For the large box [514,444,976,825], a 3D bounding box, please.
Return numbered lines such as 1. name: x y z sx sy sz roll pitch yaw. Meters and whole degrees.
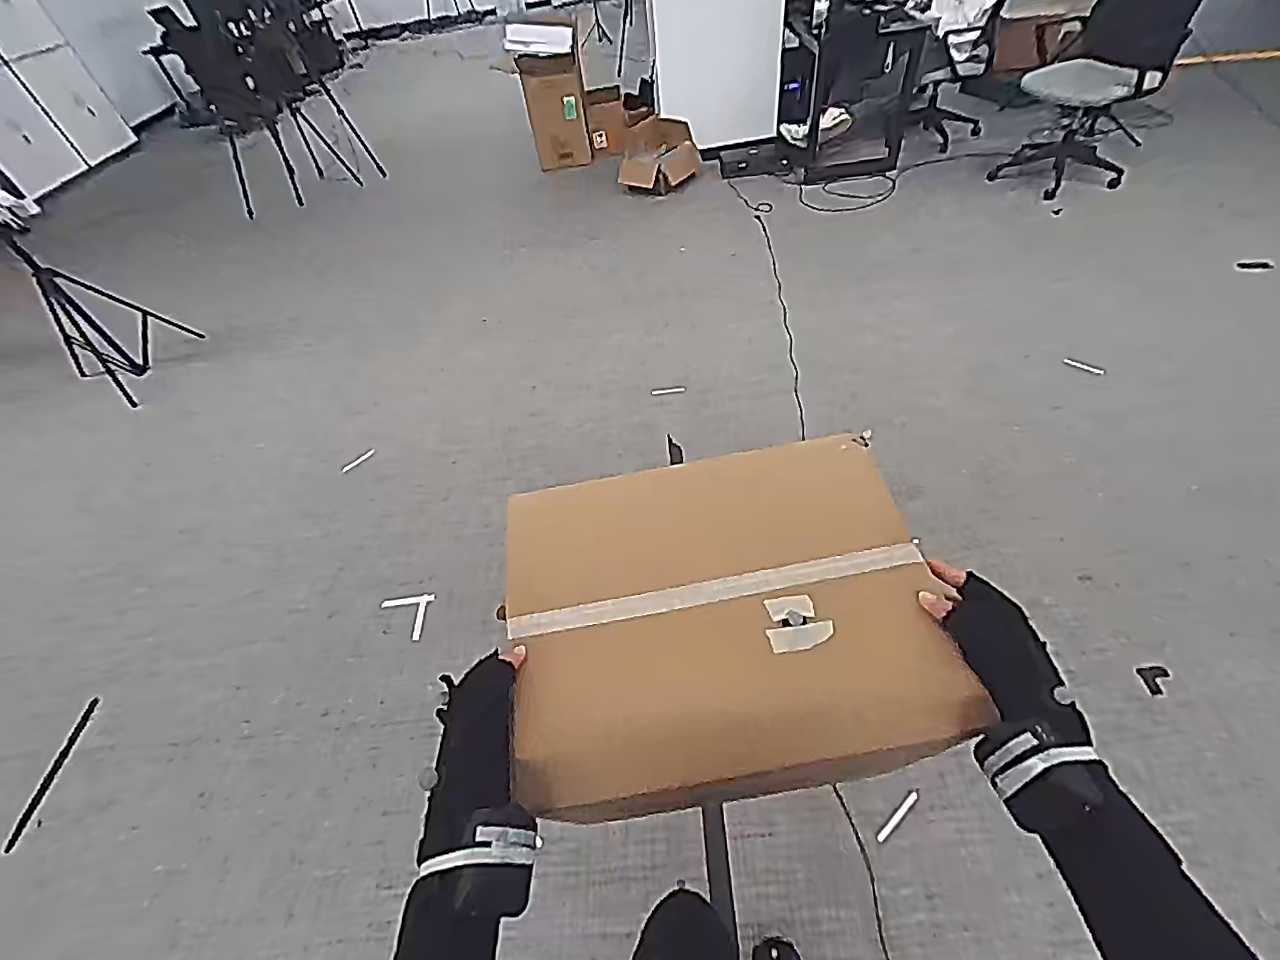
1. large box: 0.086 0.202 0.666 0.408 0.320 0.320 -11 56 0
